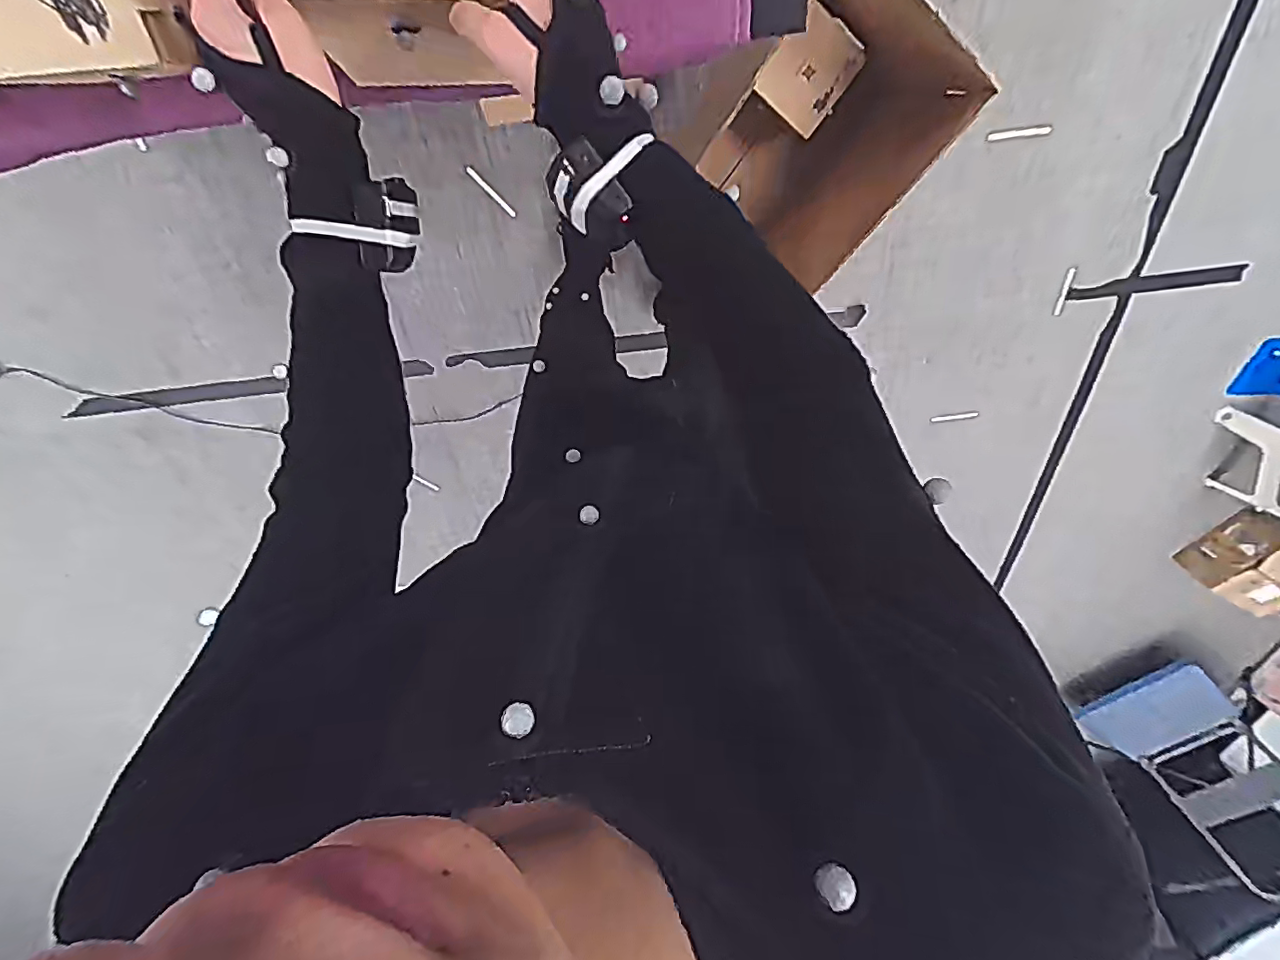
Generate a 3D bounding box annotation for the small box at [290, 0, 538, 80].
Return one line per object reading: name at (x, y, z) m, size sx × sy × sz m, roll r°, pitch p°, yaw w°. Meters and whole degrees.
small box at (-0.180, -0.438, 0.422) m, size 0.179 × 0.176 × 0.168 m, roll -5°, pitch 110°, yaw -5°
